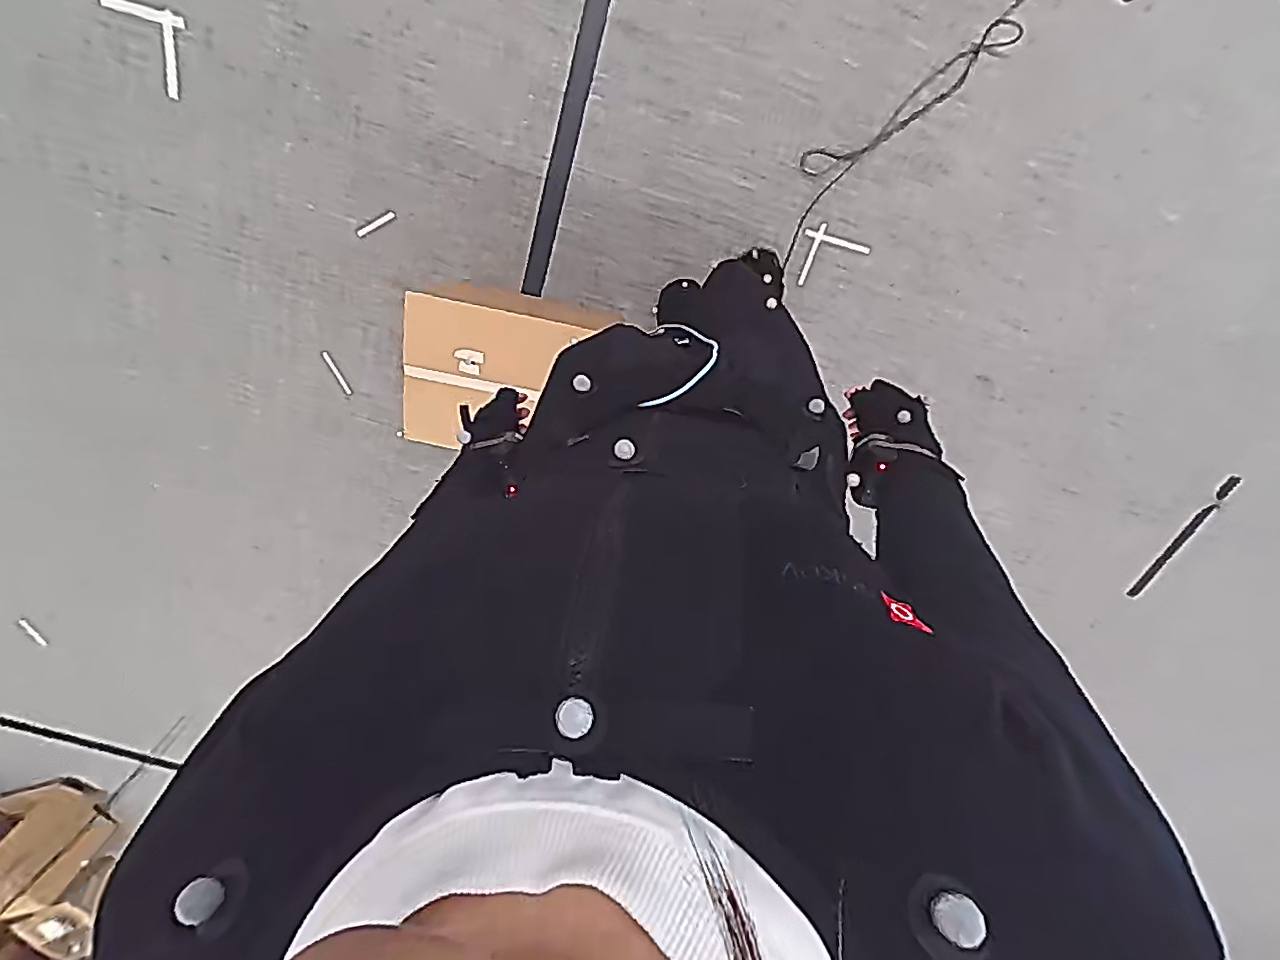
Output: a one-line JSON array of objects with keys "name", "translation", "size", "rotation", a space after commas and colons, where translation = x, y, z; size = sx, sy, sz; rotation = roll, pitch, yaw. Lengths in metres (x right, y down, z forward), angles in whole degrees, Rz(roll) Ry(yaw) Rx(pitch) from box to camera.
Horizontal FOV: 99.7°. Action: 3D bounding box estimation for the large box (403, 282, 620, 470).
[{"name": "large box", "translation": [-0.278, -0.253, 1.247], "size": [0.408, 0.320, 0.320], "rotation": [12, 113, 0]}]
